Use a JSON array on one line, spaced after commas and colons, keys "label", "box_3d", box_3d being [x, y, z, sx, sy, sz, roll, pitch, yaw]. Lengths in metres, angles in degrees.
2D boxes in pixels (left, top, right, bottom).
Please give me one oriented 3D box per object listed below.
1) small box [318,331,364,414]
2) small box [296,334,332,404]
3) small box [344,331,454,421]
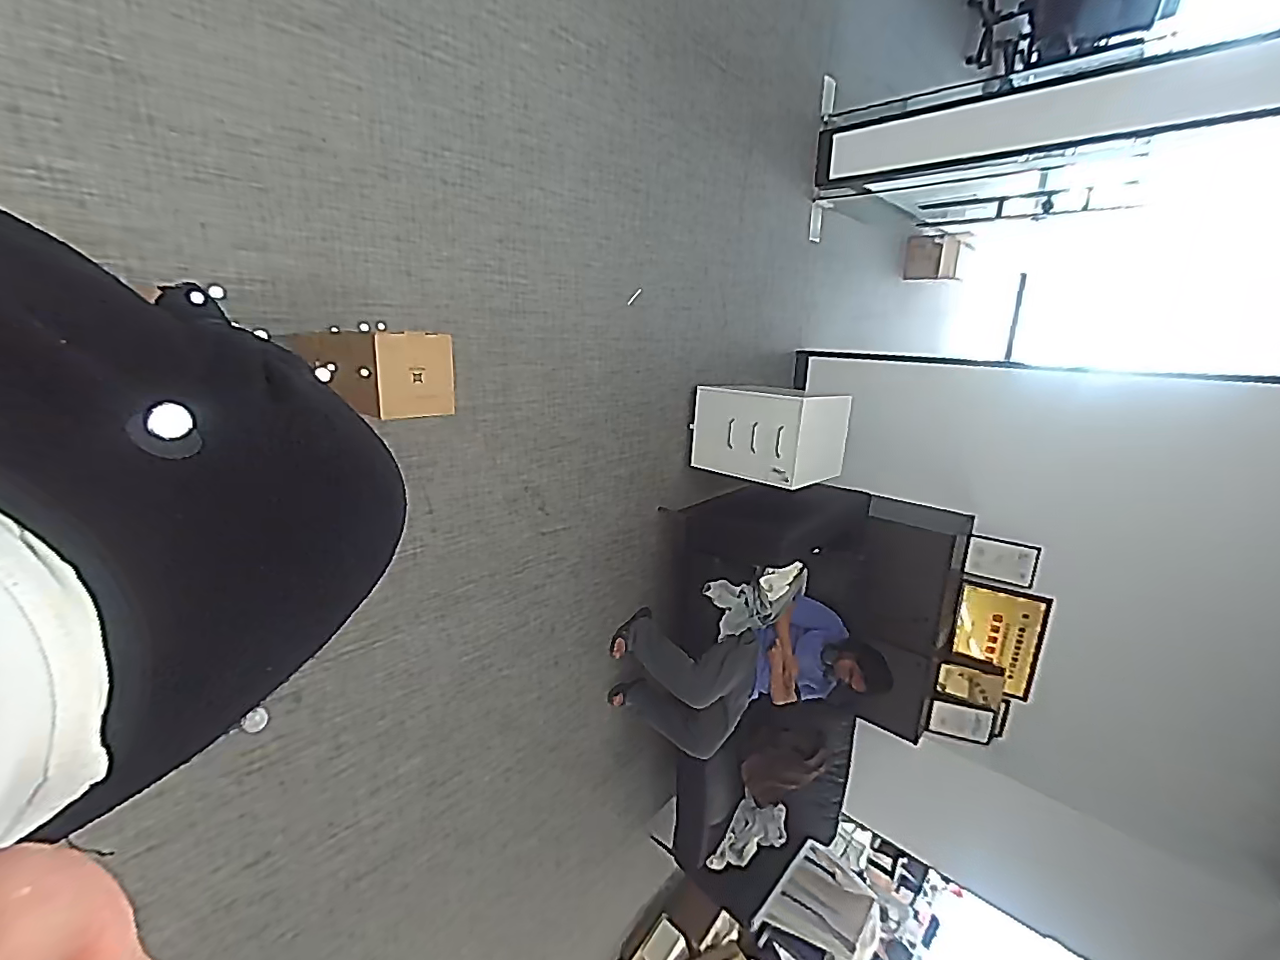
[{"label": "small box", "box_3d": [-0.645, -0.261, 1.291, 0.168, 0.176, 0.179, -16, 113, -47]}, {"label": "small box", "box_3d": [-0.767, -0.289, 1.398, 0.179, 0.176, 0.168, -14, 113, -46]}, {"label": "small box", "box_3d": [-0.528, -0.233, 1.184, 0.168, 0.176, 0.179, -14, 114, -46]}]
